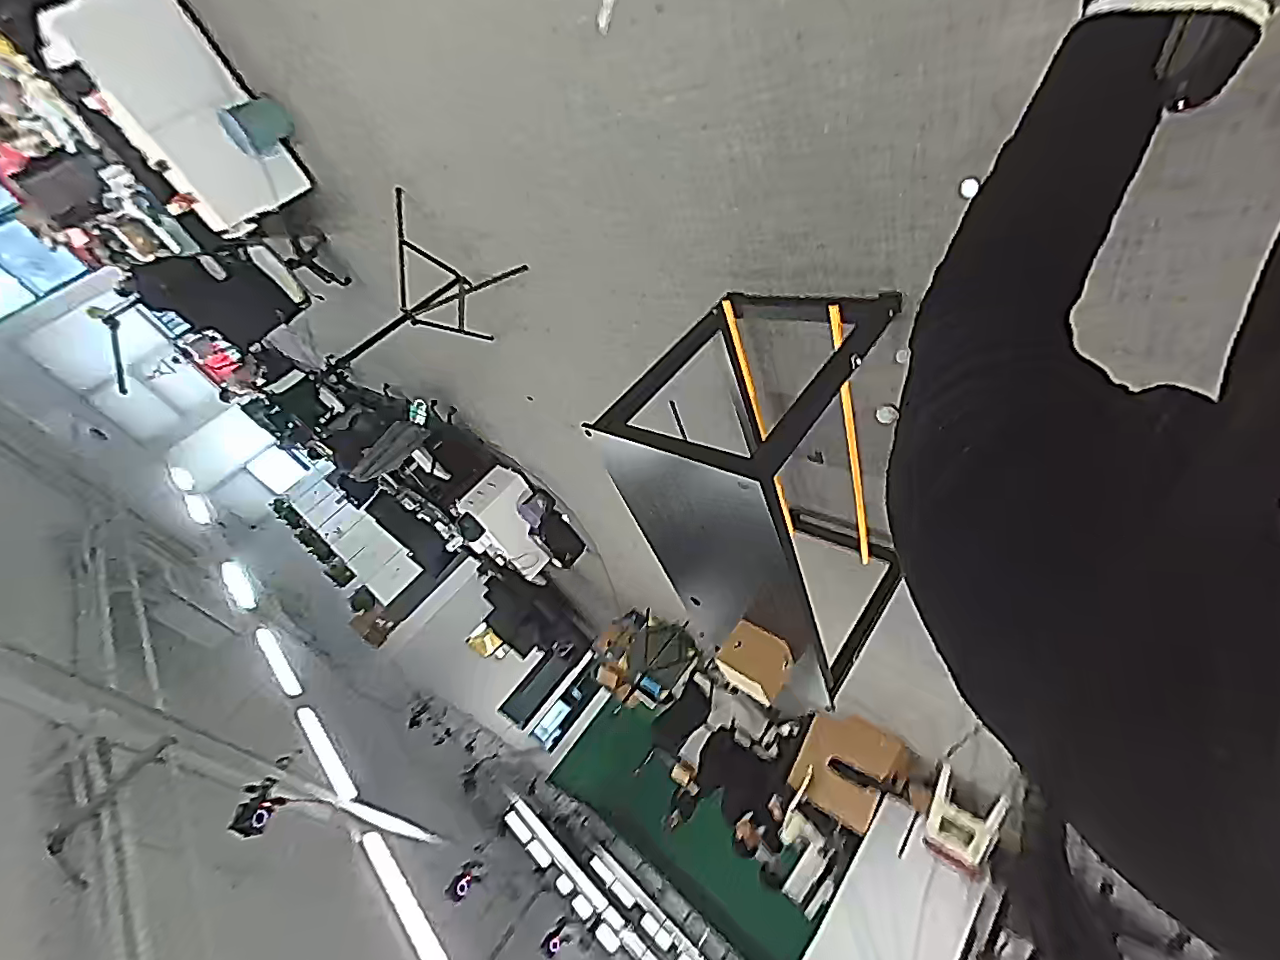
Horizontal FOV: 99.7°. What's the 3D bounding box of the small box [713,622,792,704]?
[{"bbox_3d":[0.373,0.595,1.783,0.179,0.176,0.168,20,150,41],"label":"small box"}]
